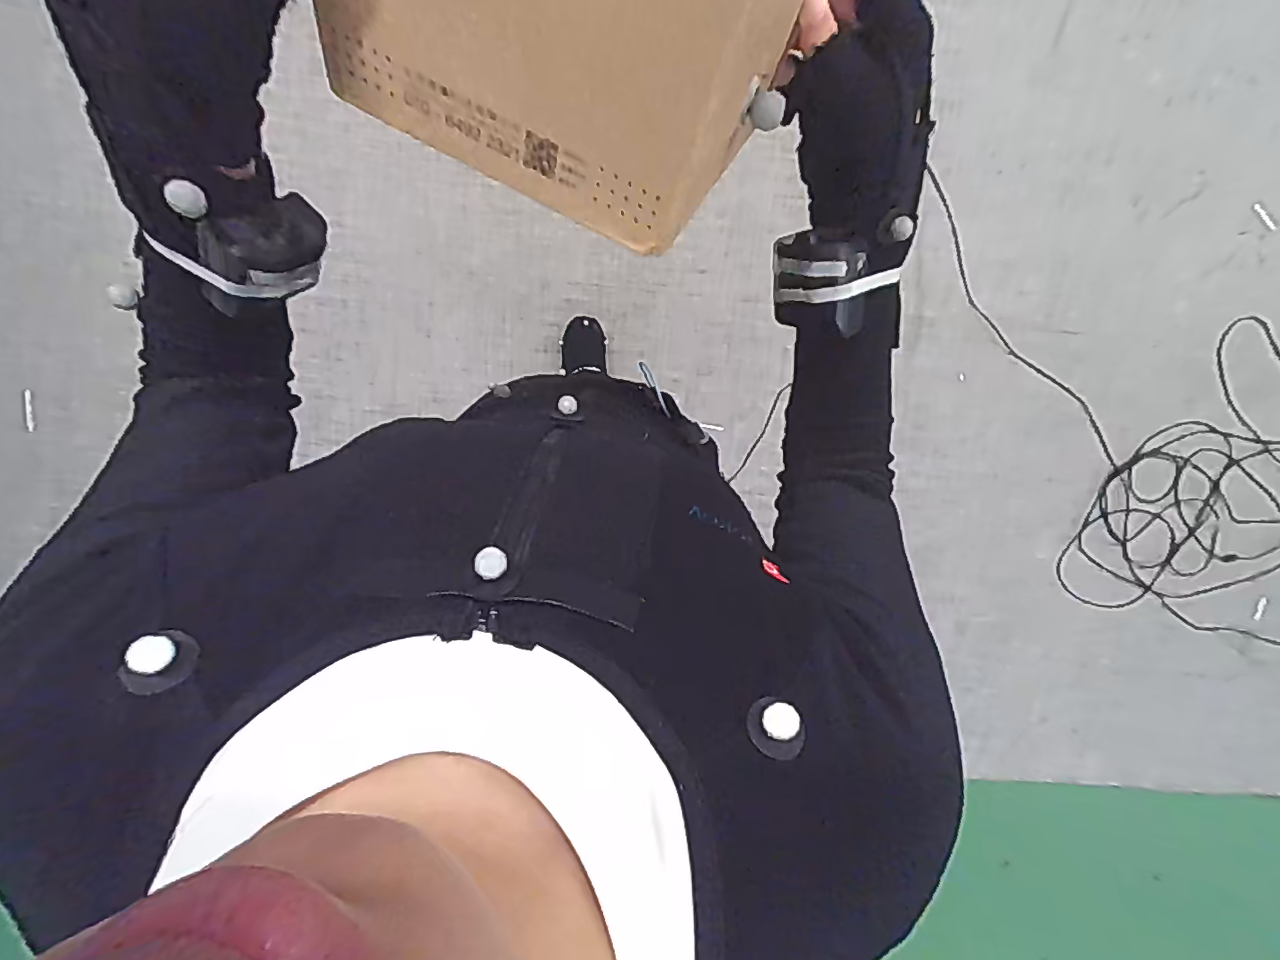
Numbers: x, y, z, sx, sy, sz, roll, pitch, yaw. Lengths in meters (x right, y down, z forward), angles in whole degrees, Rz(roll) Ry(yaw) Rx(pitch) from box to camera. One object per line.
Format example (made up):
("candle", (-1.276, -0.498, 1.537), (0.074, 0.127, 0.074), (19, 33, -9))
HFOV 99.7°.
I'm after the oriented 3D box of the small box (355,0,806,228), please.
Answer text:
("small box", (-0.009, -0.247, 0.226), (0.168, 0.176, 0.179), (28, 54, 1))
